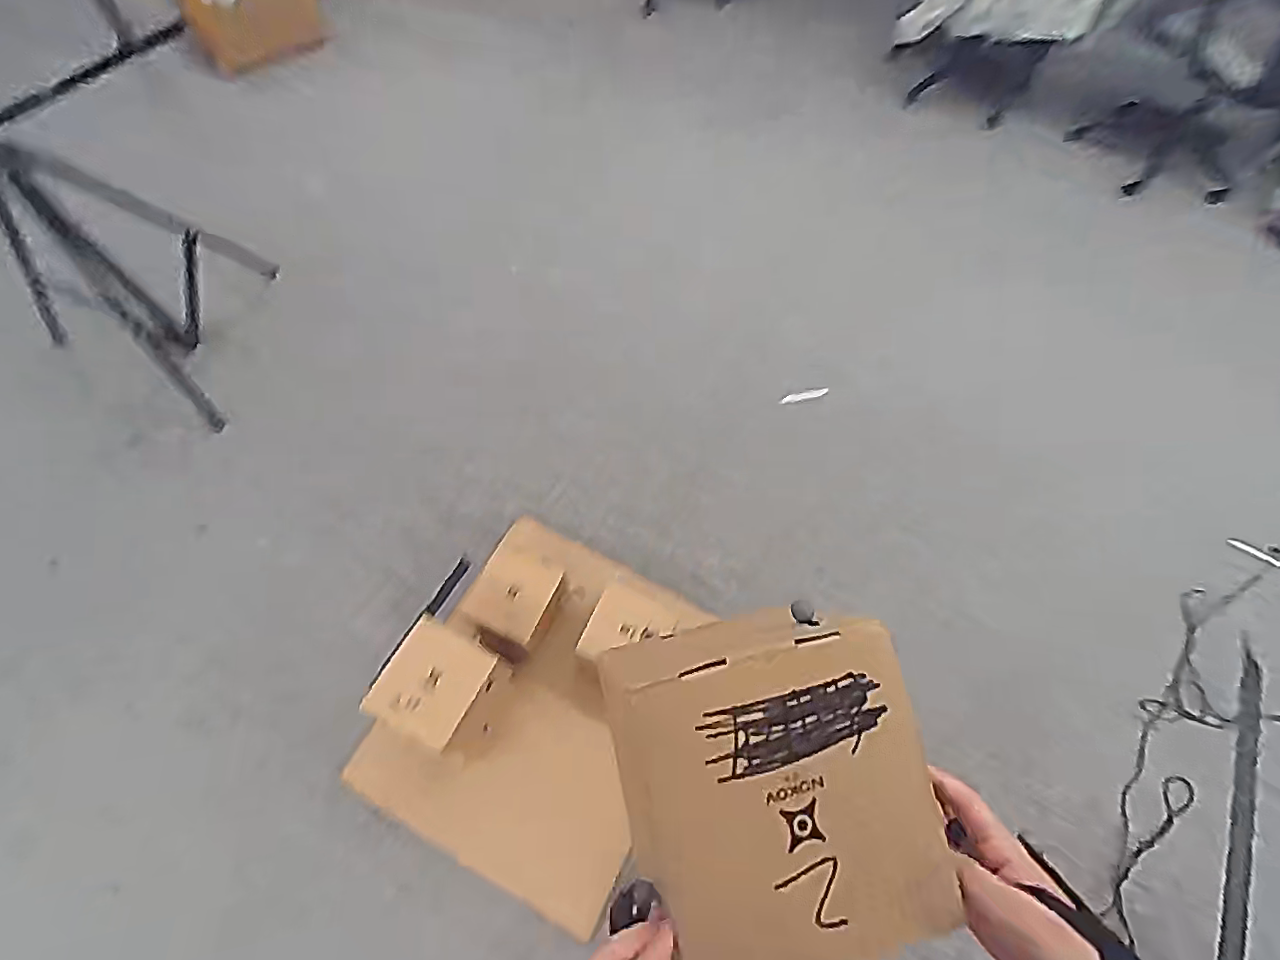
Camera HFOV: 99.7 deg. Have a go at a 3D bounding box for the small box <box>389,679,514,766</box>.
[{"bbox_3d":[-0.381,0.474,1.139,0.168,0.176,0.179,23,66,7],"label":"small box"}]

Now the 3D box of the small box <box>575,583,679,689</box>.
[{"bbox_3d":[-0.029,0.357,1.221,0.179,0.176,0.168,23,65,8],"label":"small box"}]

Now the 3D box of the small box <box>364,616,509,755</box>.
[{"bbox_3d":[-0.360,0.383,1.000,0.168,0.176,0.179,26,65,10],"label":"small box"}]

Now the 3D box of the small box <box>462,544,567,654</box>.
[{"bbox_3d":[-0.278,0.279,1.245,0.168,0.176,0.179,22,65,8],"label":"small box"}]
